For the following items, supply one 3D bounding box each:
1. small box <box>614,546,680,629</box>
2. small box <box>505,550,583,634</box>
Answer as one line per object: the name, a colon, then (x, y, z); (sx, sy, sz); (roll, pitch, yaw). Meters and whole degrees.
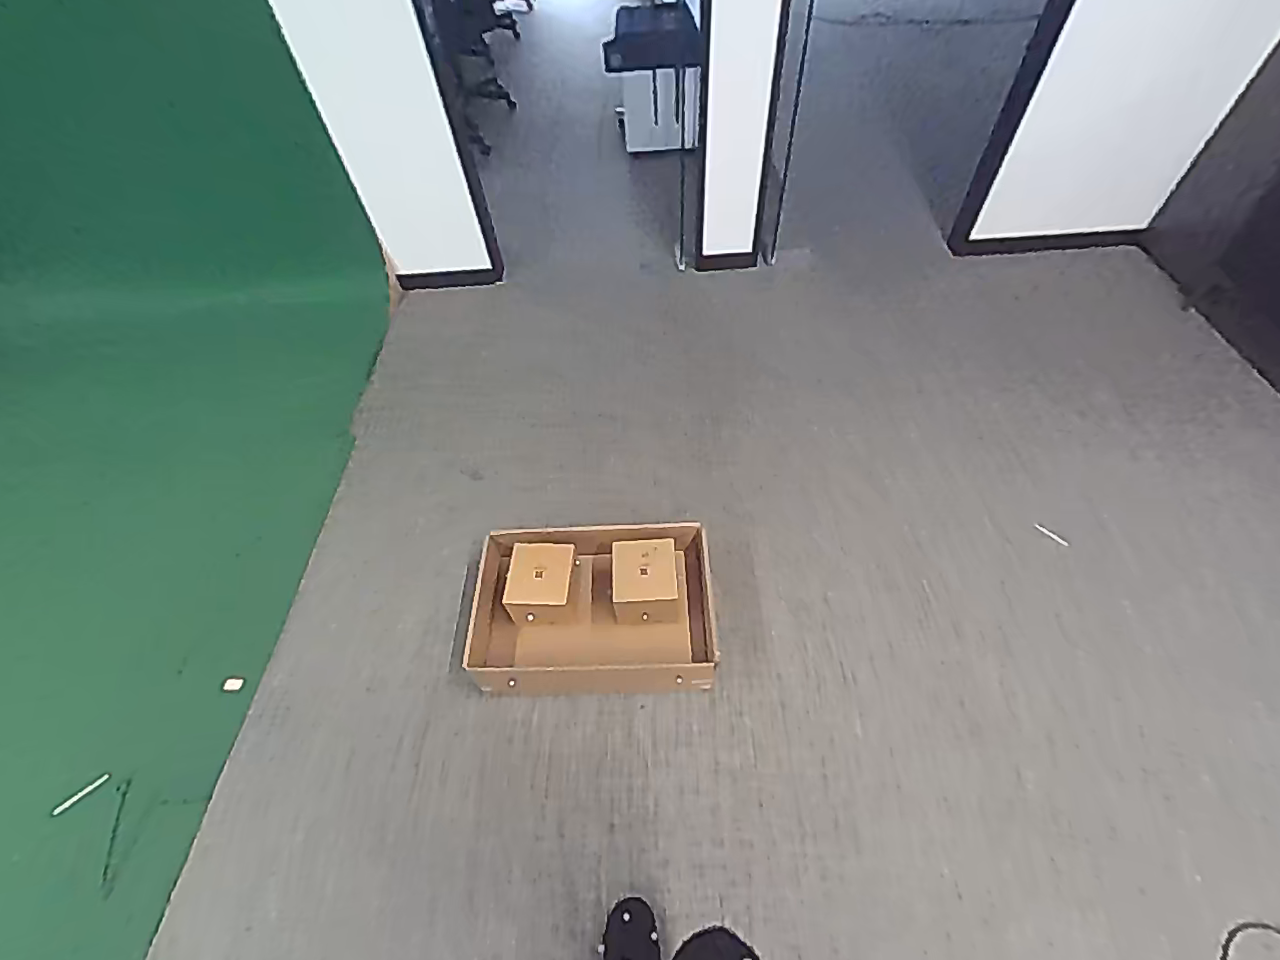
small box: (0.021, 0.295, 1.457); (0.168, 0.176, 0.179); (-3, 54, 2)
small box: (-0.253, 0.307, 1.470); (0.168, 0.176, 0.179); (1, 53, 4)
